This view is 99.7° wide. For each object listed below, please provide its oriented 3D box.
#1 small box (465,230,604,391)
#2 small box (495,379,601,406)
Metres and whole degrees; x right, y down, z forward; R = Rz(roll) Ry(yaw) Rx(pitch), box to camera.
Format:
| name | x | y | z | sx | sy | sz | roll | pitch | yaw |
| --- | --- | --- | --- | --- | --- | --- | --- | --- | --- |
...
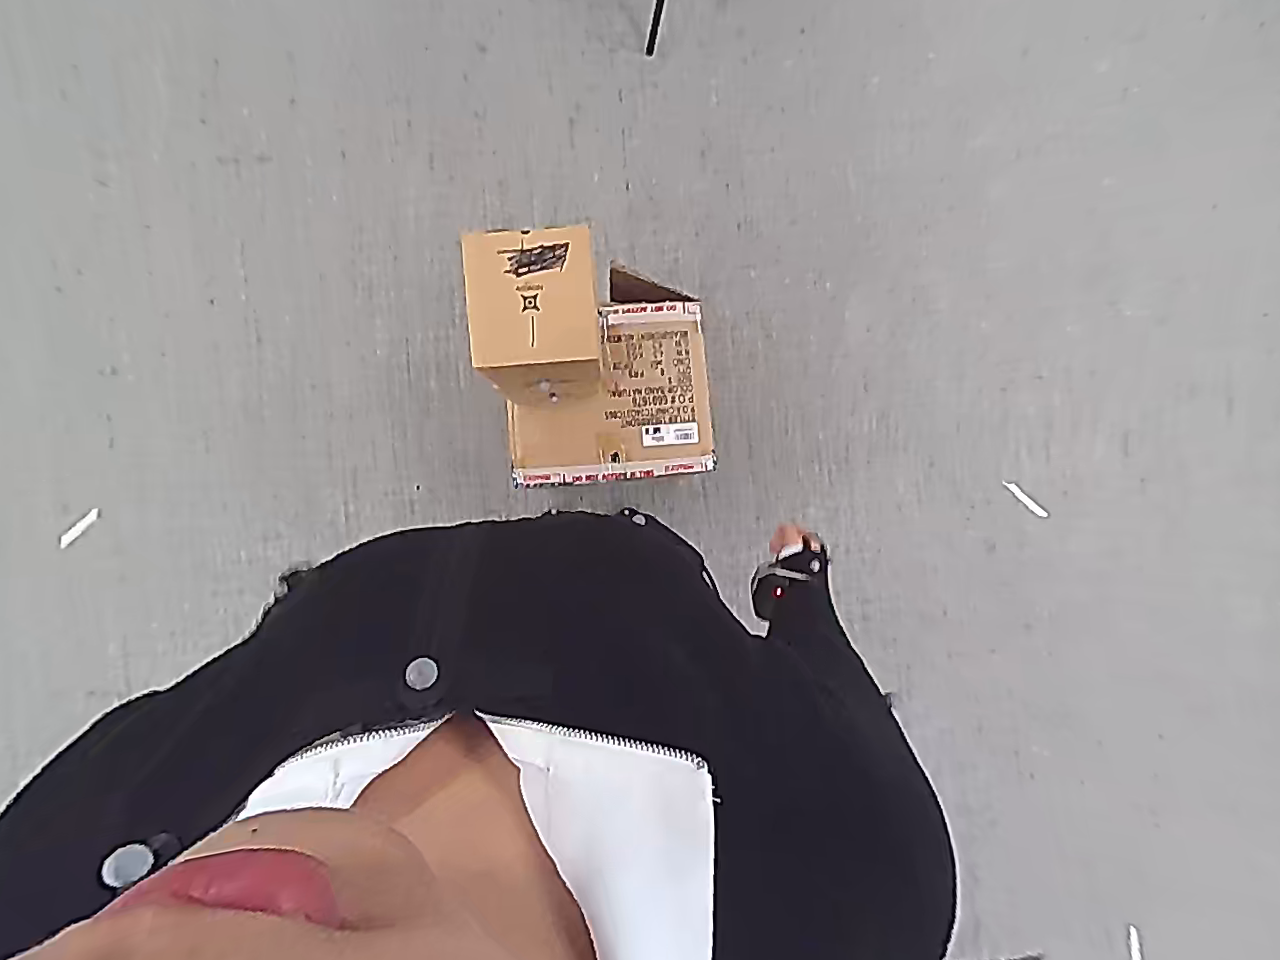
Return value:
| name | x | y | z | sx | sy | sz | roll | pitch | yaw |
| --- | --- | --- | --- | --- | --- | --- | --- | --- | --- |
| small box | -0.141 | -0.231 | 0.773 | 0.168 | 0.176 | 0.179 | -5 | 91 | -1 |
| small box | -0.161 | -0.234 | 0.937 | 0.168 | 0.176 | 0.179 | -8 | 91 | -1 |
